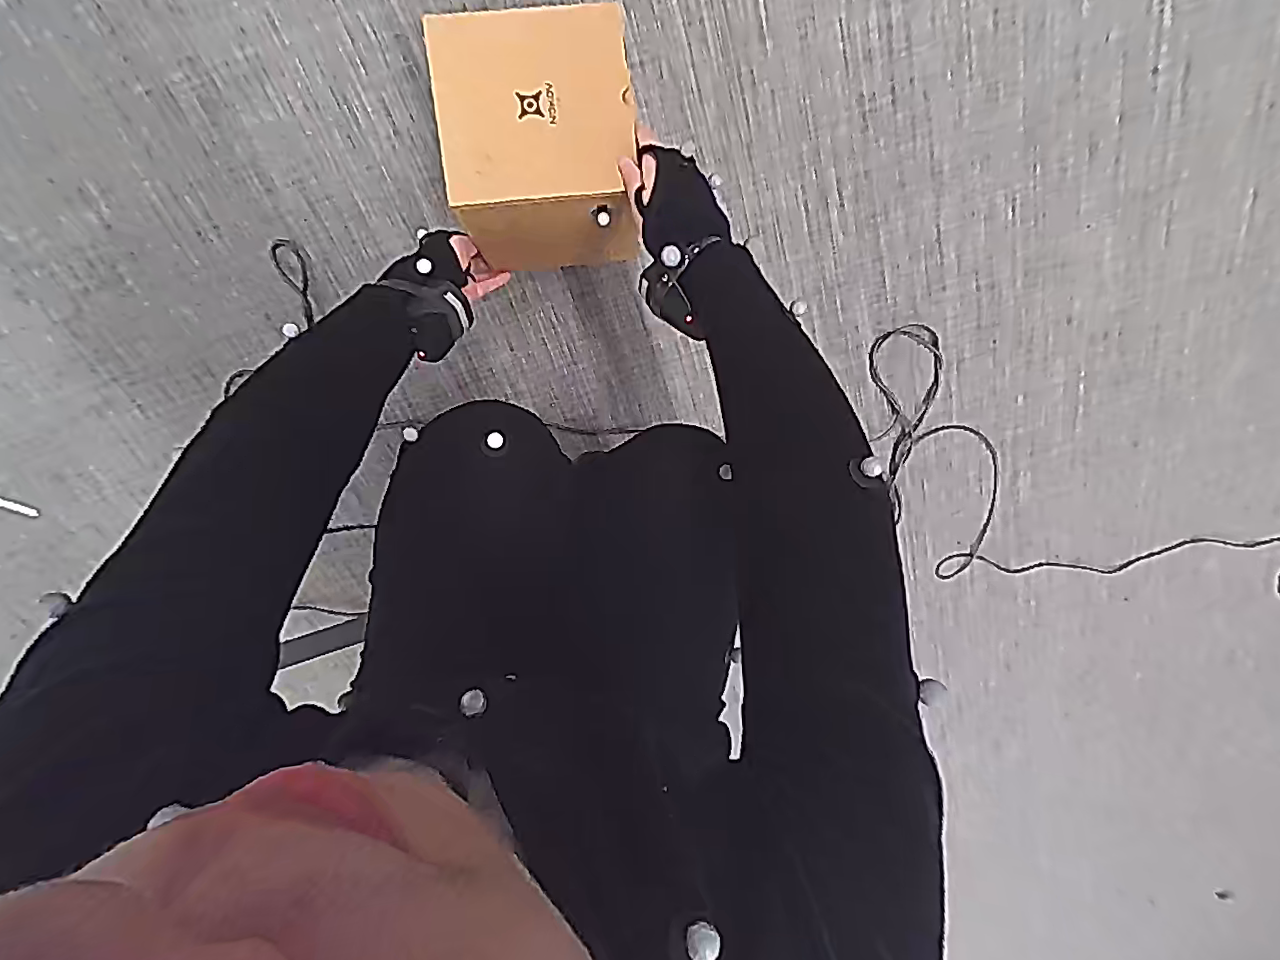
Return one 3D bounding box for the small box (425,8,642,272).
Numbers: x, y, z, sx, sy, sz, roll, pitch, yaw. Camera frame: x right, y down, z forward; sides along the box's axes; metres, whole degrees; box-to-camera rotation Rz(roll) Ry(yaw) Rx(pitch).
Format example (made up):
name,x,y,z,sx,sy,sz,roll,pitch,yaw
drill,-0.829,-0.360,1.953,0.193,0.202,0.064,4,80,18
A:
name,x,y,z,sx,sy,sz,roll,pitch,yaw
small box,-0.097,-0.329,0.557,0.179,0.176,0.168,-8,93,-4
